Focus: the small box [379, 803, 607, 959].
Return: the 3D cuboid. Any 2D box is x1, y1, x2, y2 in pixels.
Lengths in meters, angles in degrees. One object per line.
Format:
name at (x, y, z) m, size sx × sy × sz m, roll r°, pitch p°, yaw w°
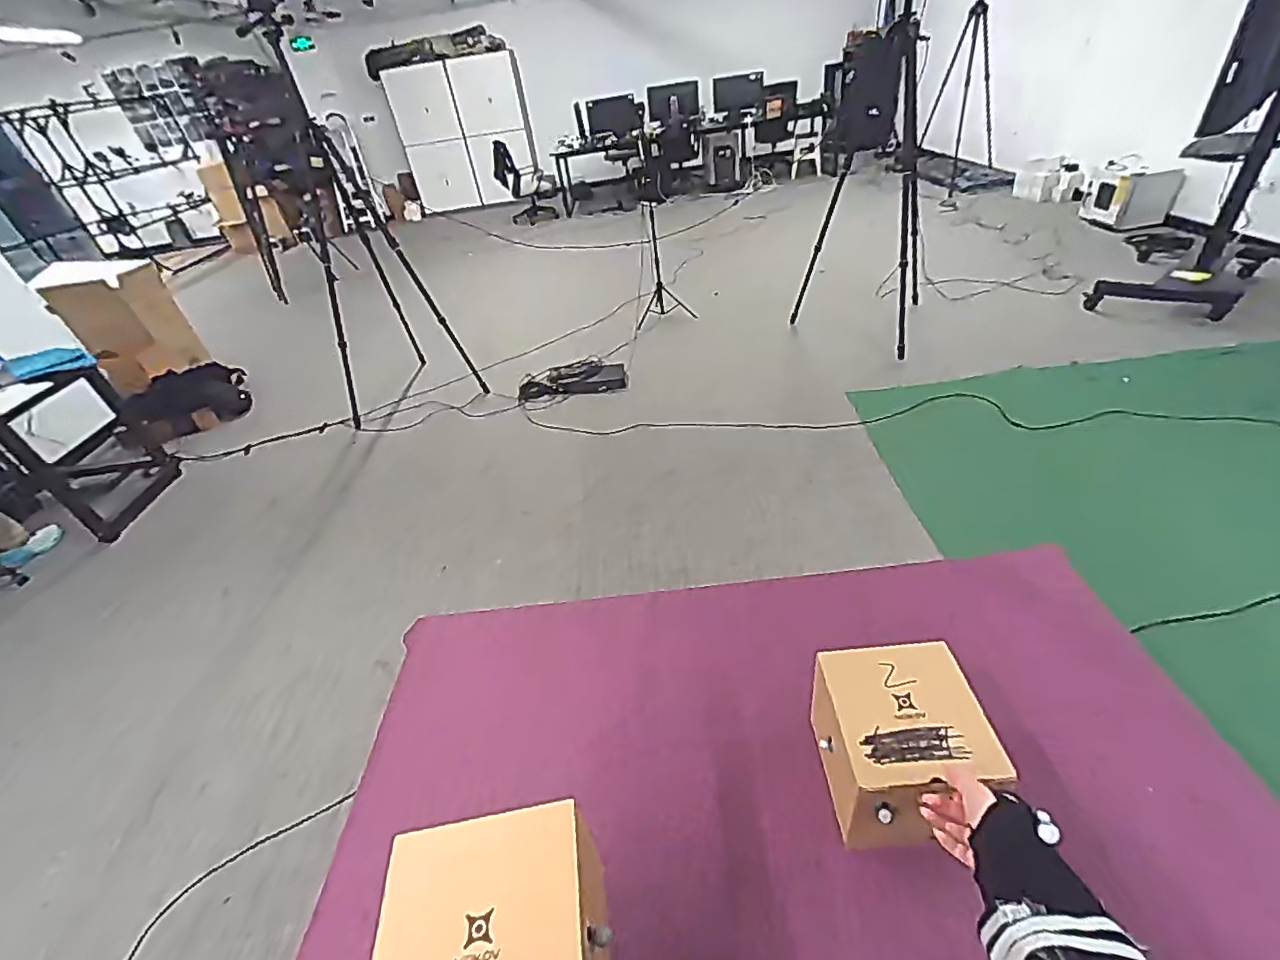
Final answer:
small box at (-0.121, 0.431, 0.487) m, size 0.168 × 0.176 × 0.179 m, roll -10°, pitch 38°, yaw -3°
